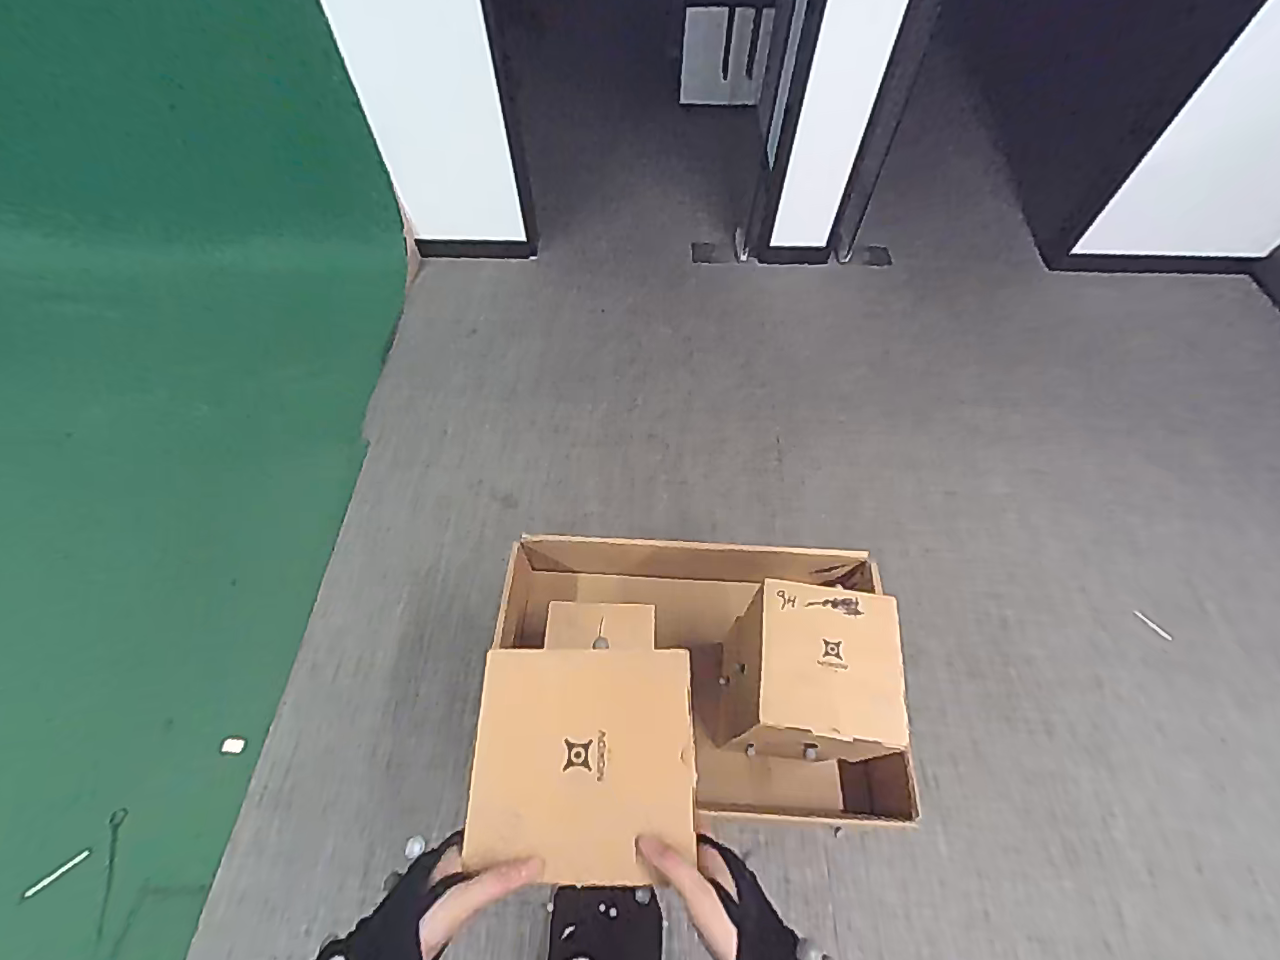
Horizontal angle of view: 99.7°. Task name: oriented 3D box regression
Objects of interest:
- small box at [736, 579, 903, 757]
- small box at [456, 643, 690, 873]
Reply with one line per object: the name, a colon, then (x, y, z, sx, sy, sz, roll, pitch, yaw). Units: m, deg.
small box: (0.222, 0.250, 0.704, 0.168, 0.176, 0.179, 8, 60, 5)
small box: (-0.048, 0.254, 0.503, 0.179, 0.176, 0.168, 0, 61, 0)
